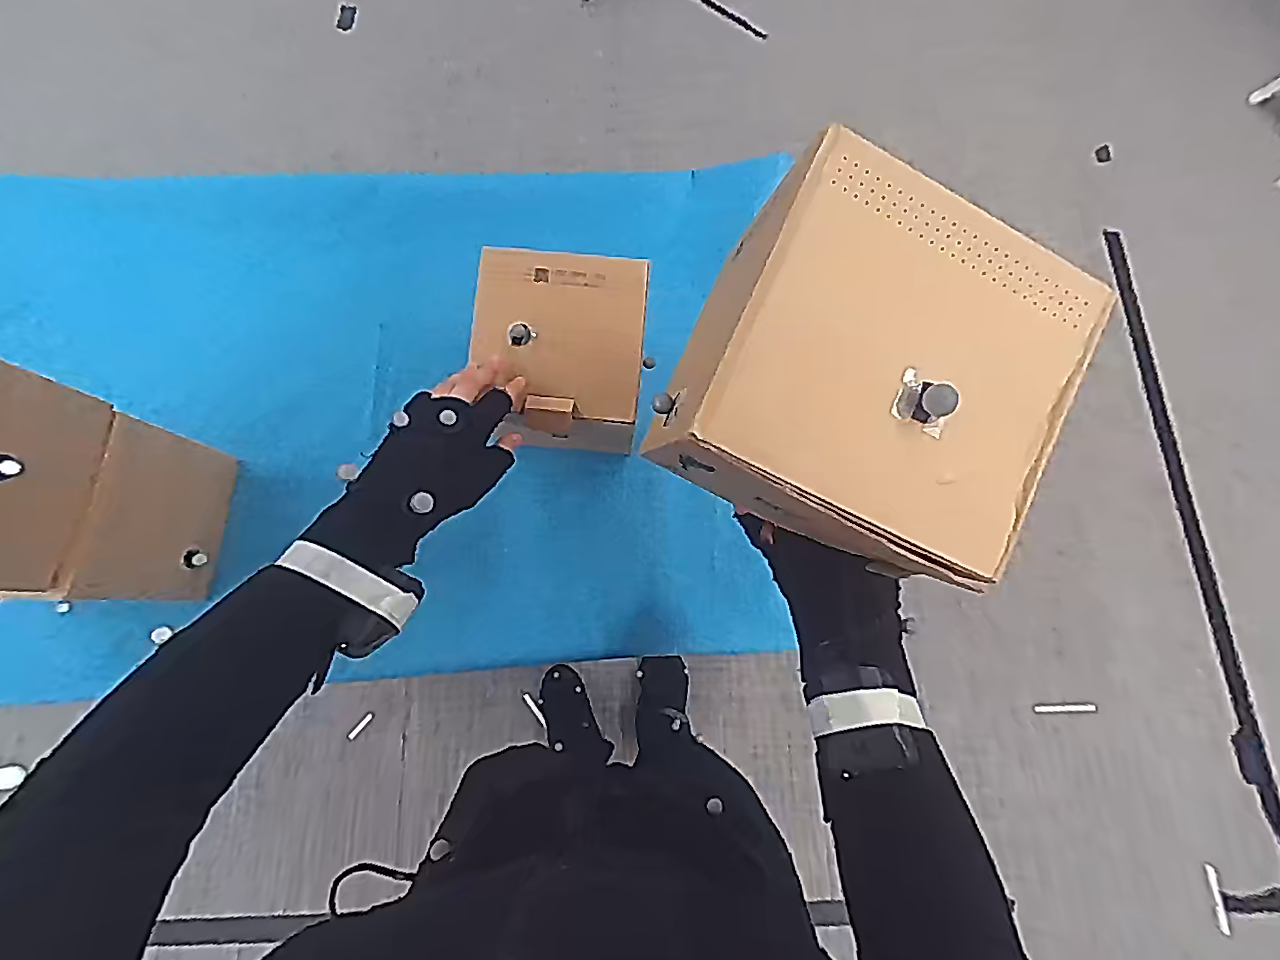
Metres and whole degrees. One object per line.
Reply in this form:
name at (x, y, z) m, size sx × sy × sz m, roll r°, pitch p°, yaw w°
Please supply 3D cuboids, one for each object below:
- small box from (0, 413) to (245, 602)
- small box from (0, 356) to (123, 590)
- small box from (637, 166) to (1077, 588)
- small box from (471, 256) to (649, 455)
small box at (-0.570, 0.034, 0.568) m, size 0.168 × 0.176 × 0.179 m, roll 3°, pitch 77°, yaw -2°
small box at (-0.572, -0.015, 0.410) m, size 0.168 × 0.176 × 0.179 m, roll 7°, pitch 78°, yaw 0°
small box at (0.120, -0.055, 0.347) m, size 0.179 × 0.168 × 0.176 m, roll 25°, pitch 86°, yaw -8°
small box at (-0.081, -0.130, 0.611) m, size 0.168 × 0.179 × 0.176 m, roll 6°, pitch 83°, yaw -2°
